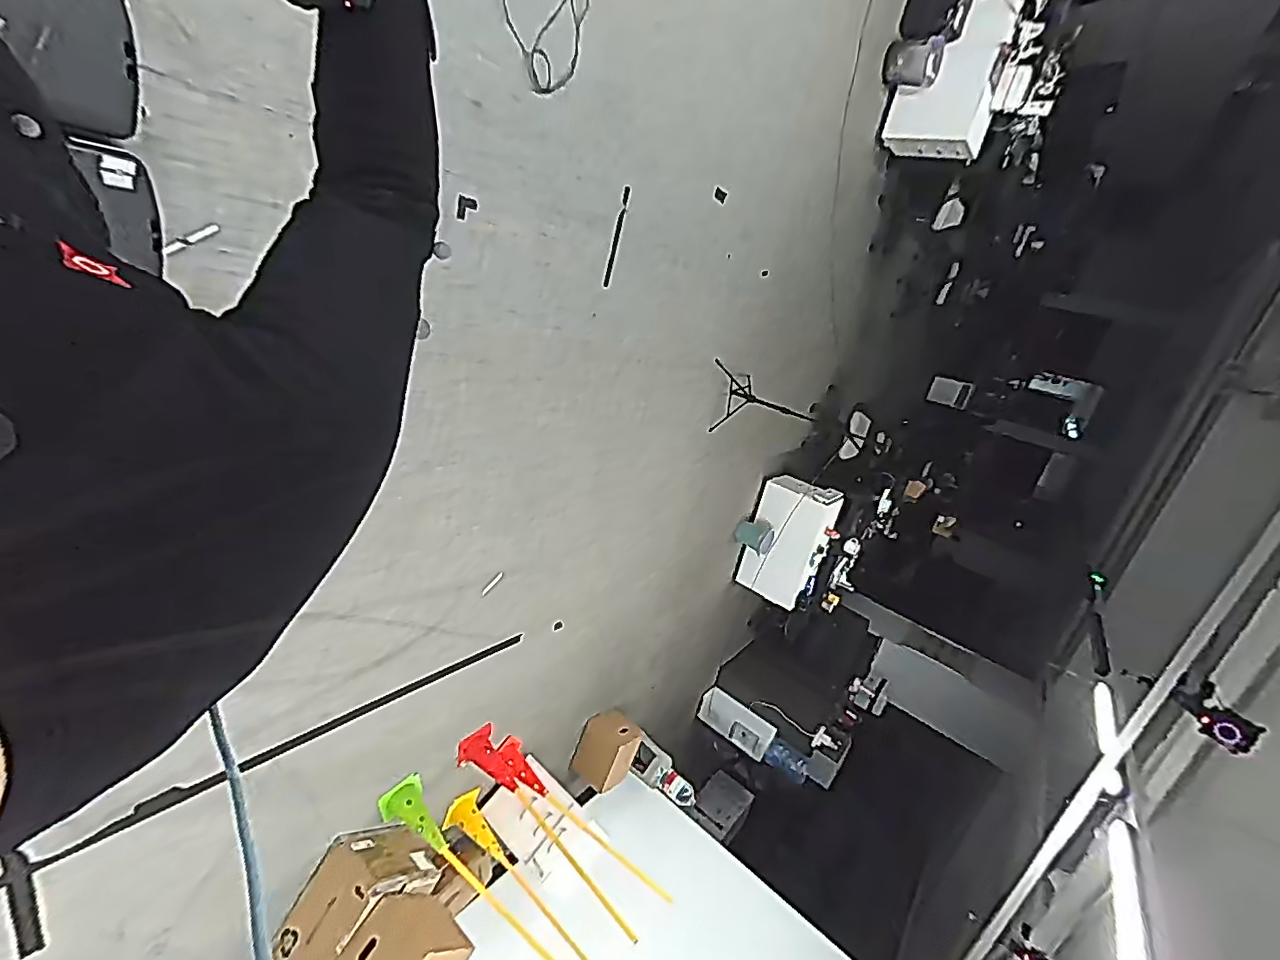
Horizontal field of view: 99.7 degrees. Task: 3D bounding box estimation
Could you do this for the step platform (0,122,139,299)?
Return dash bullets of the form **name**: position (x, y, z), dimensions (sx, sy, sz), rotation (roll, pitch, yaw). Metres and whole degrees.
- **step platform**: position (-1.259, -0.468, 0.855), dimensions (0.684, 0.204, 0.286), rotation (-14, 123, -49)
